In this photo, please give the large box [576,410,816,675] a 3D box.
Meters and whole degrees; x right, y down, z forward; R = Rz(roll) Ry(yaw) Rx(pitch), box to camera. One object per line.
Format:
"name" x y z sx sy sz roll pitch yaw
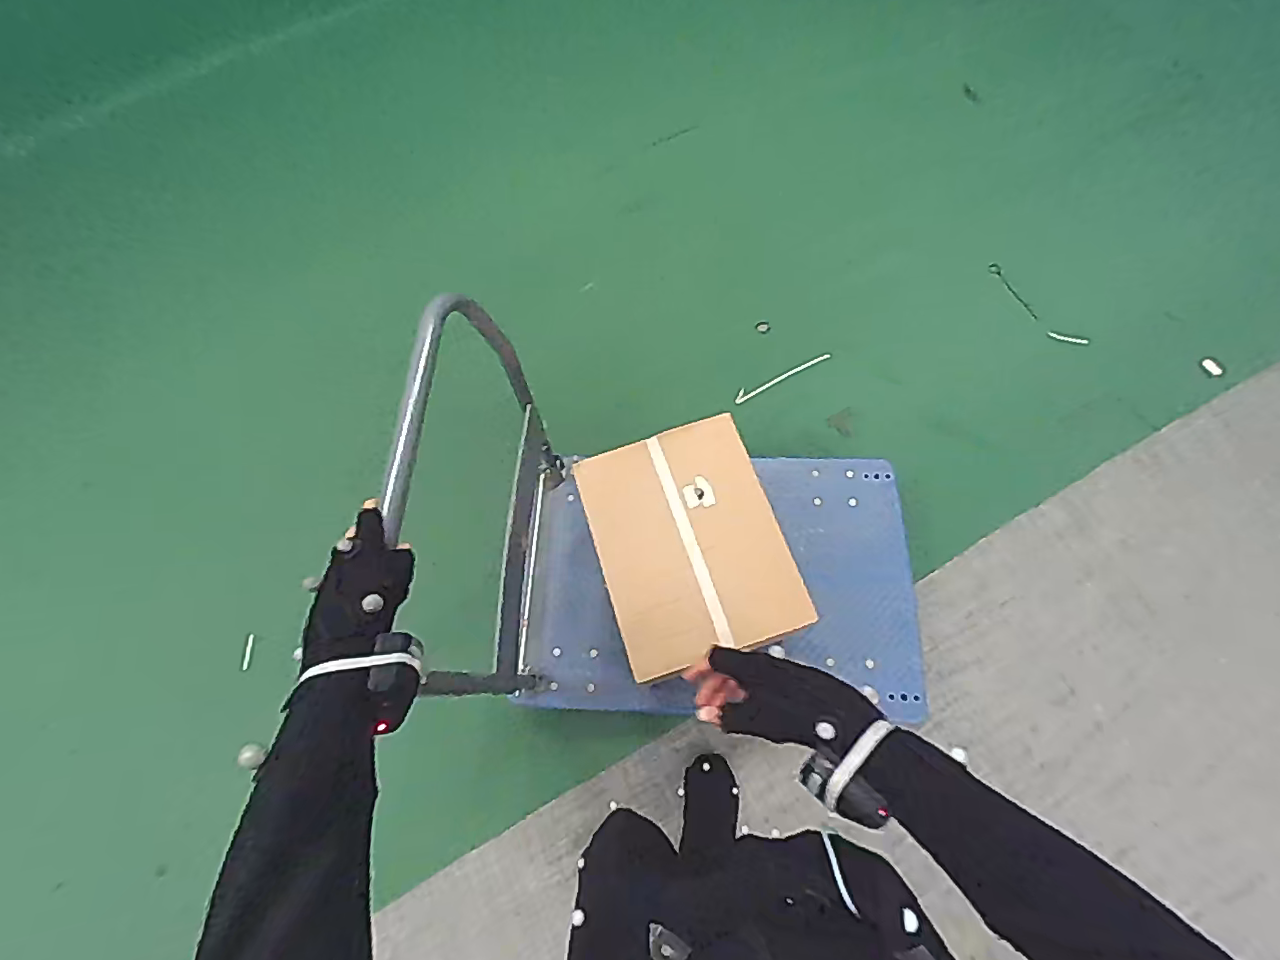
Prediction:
"large box" 0.098 0.140 1.078 0.320 0.320 0.408 -17 68 -2
